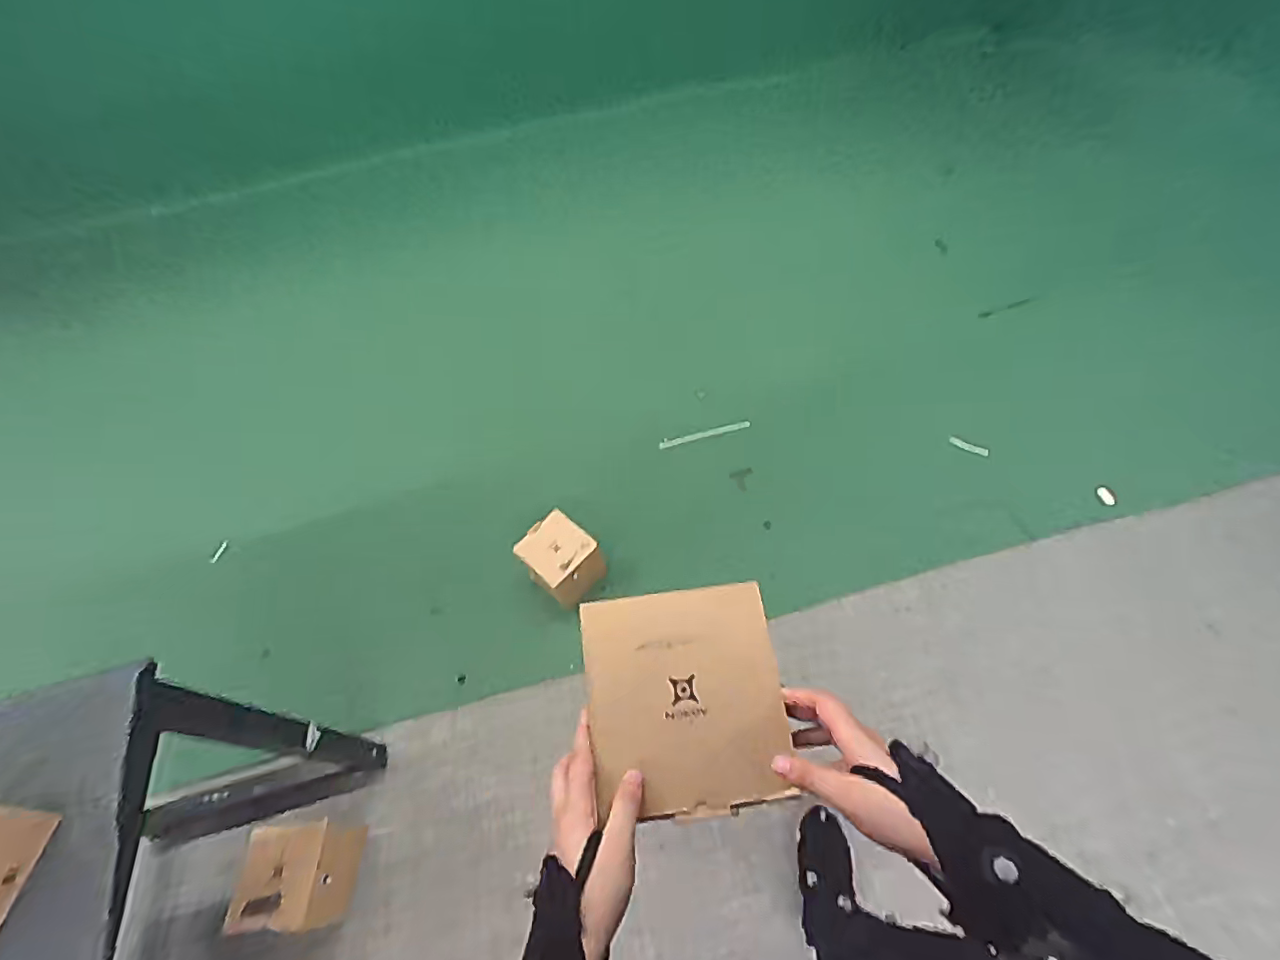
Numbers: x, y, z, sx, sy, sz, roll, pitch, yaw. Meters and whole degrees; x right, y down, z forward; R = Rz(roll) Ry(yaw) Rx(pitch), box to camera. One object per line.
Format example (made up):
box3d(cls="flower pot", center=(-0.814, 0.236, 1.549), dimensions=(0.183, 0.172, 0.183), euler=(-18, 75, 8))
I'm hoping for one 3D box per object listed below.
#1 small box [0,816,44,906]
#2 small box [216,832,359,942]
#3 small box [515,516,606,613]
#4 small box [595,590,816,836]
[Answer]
box3d(cls="small box", center=(-0.801, 0.433, 0.550), dimensions=(0.179, 0.176, 0.168), euler=(1, 56, 10))
box3d(cls="small box", center=(-0.729, 0.853, 1.144), dimensions=(0.168, 0.176, 0.179), euler=(-4, 54, 3))
box3d(cls="small box", center=(-0.216, 0.240, 1.509), dimensions=(0.179, 0.176, 0.168), euler=(36, 67, 27))
box3d(cls="small box", center=(0.049, 0.218, 0.523), dimensions=(0.168, 0.176, 0.179), euler=(-6, 65, -4))
